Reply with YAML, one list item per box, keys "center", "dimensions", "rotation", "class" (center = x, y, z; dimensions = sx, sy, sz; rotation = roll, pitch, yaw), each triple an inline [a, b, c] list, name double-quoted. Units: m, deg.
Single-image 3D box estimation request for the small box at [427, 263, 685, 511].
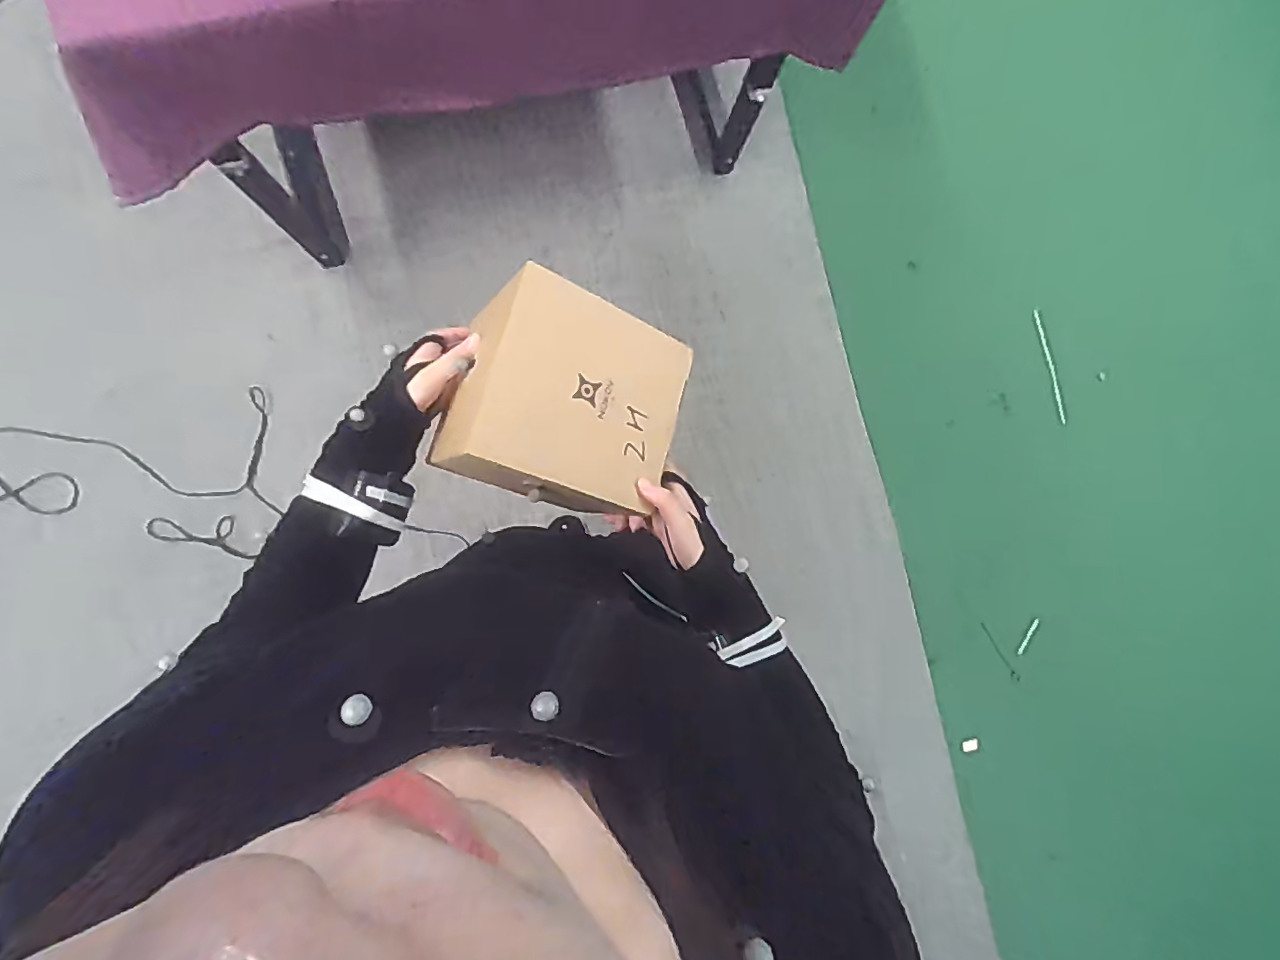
- center: [-0.089, -0.072, 0.530]
  dimensions: [0.179, 0.176, 0.168]
  rotation: [21, 79, -31]
  class: "small box"
